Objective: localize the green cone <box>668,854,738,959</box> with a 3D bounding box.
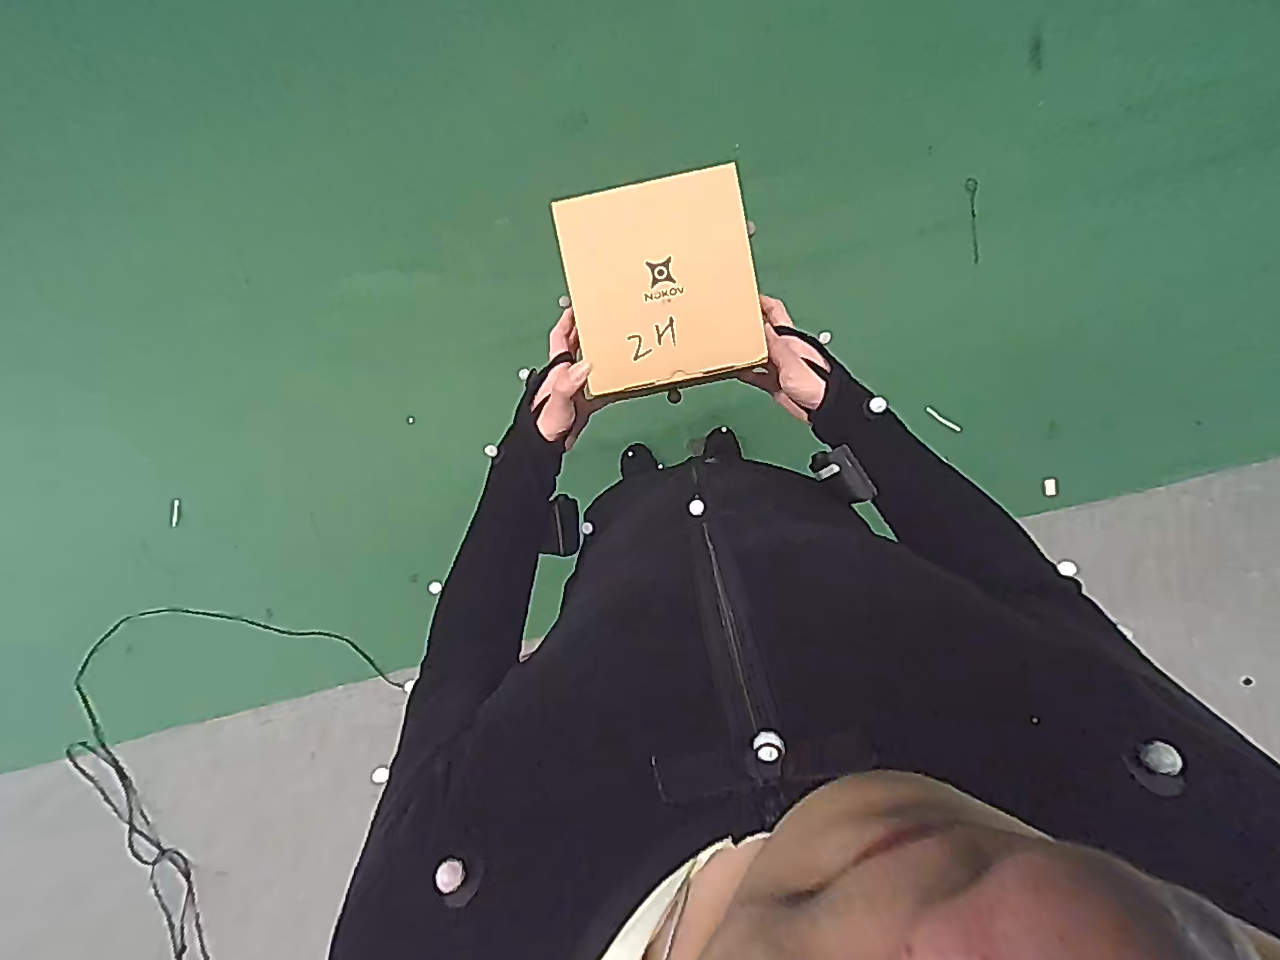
[{"bbox_3d":[0.195,1.330,1.582,0.202,0.368,0.200,-13,94,5],"label":"green cone"}]
